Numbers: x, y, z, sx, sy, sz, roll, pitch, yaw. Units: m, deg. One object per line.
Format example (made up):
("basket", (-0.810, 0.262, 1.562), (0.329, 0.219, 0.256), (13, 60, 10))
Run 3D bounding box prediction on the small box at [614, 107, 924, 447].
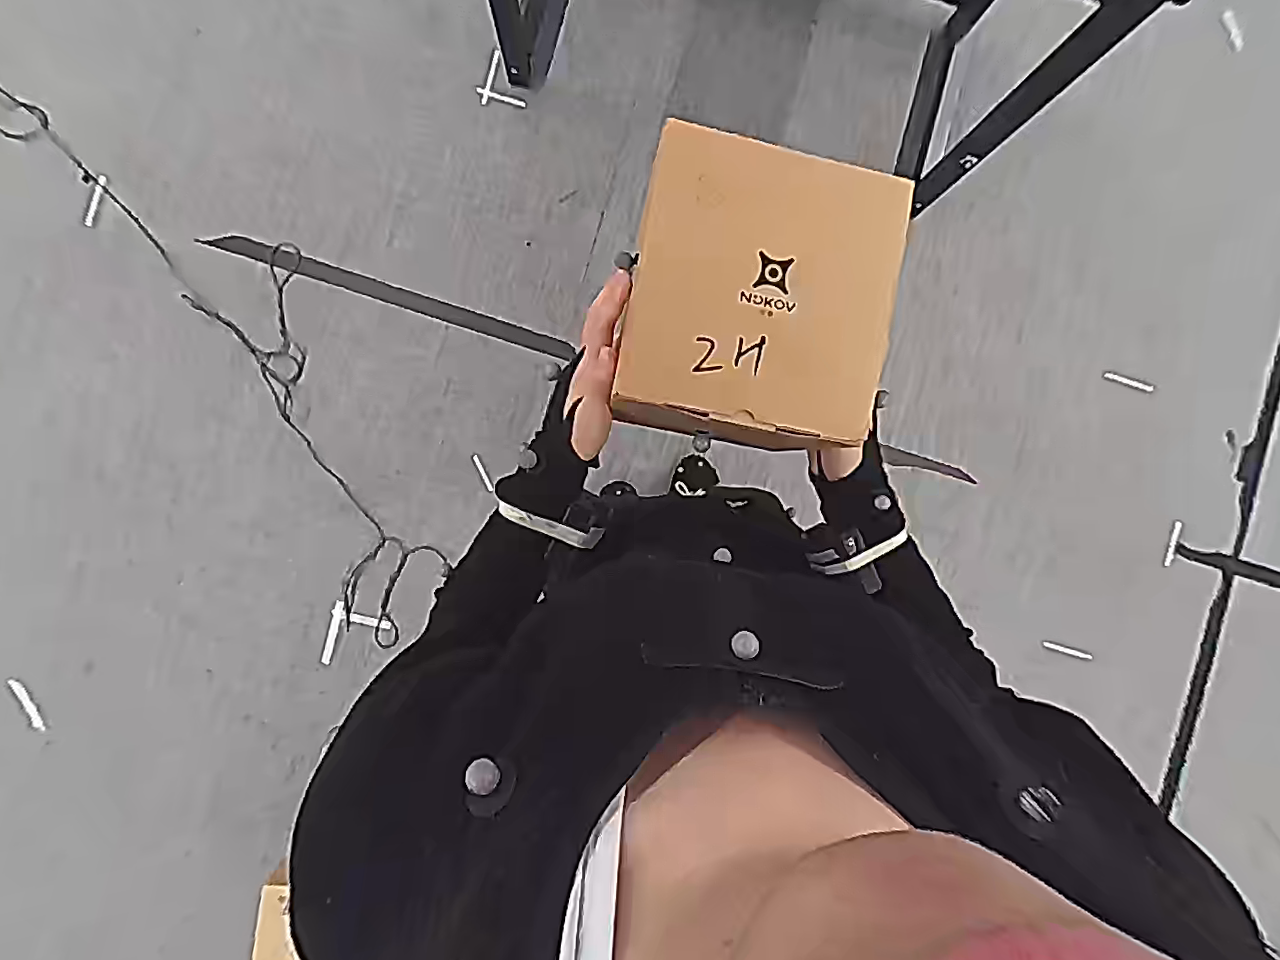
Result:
("small box", (0.076, -0.126, 0.411), (0.168, 0.176, 0.179), (11, 91, -6))
